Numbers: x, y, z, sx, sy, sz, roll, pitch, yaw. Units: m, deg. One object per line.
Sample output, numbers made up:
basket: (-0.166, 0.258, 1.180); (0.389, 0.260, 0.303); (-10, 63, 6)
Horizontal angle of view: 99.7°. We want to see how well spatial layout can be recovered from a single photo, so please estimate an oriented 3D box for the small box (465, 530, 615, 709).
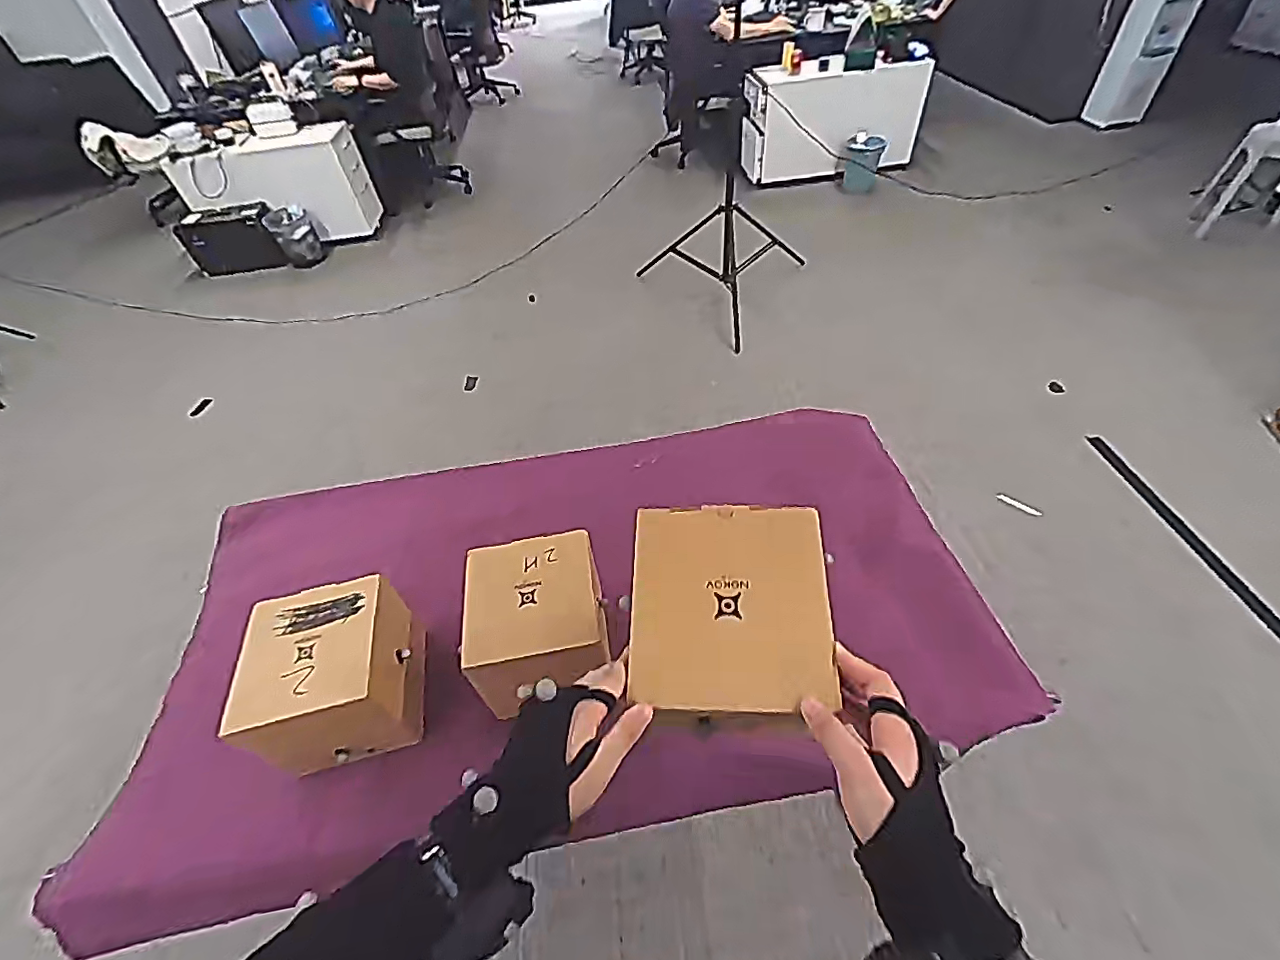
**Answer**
small box: (-0.132, 0.199, 0.750); (0.168, 0.176, 0.179); (-9, 47, -4)
